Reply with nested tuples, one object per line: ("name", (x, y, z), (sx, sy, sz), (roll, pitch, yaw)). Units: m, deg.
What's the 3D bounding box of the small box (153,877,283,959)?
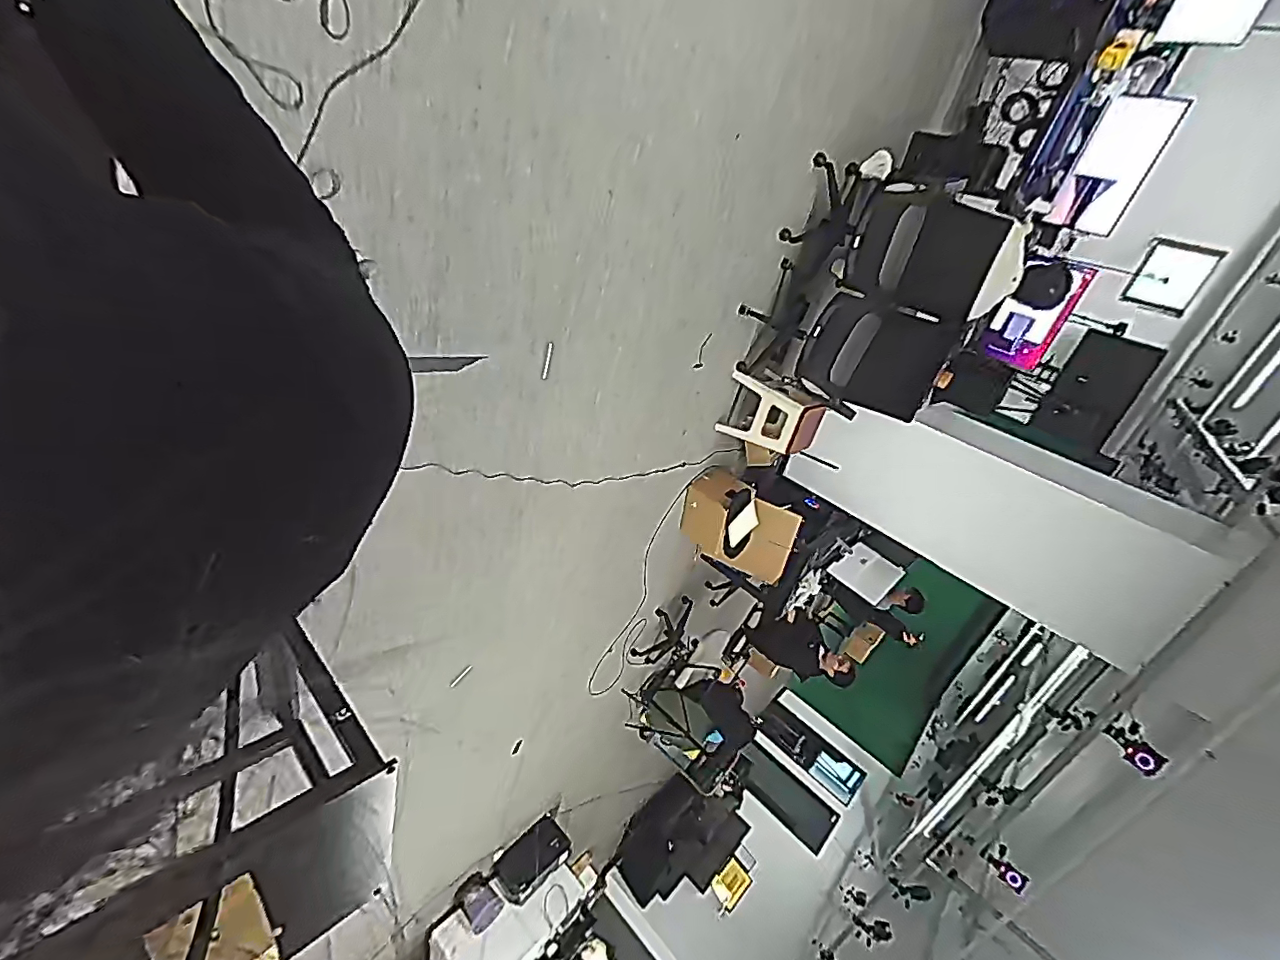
("small box", (-0.833, 0.946, 1.074), (0.168, 0.176, 0.179), (-17, 133, -46))
